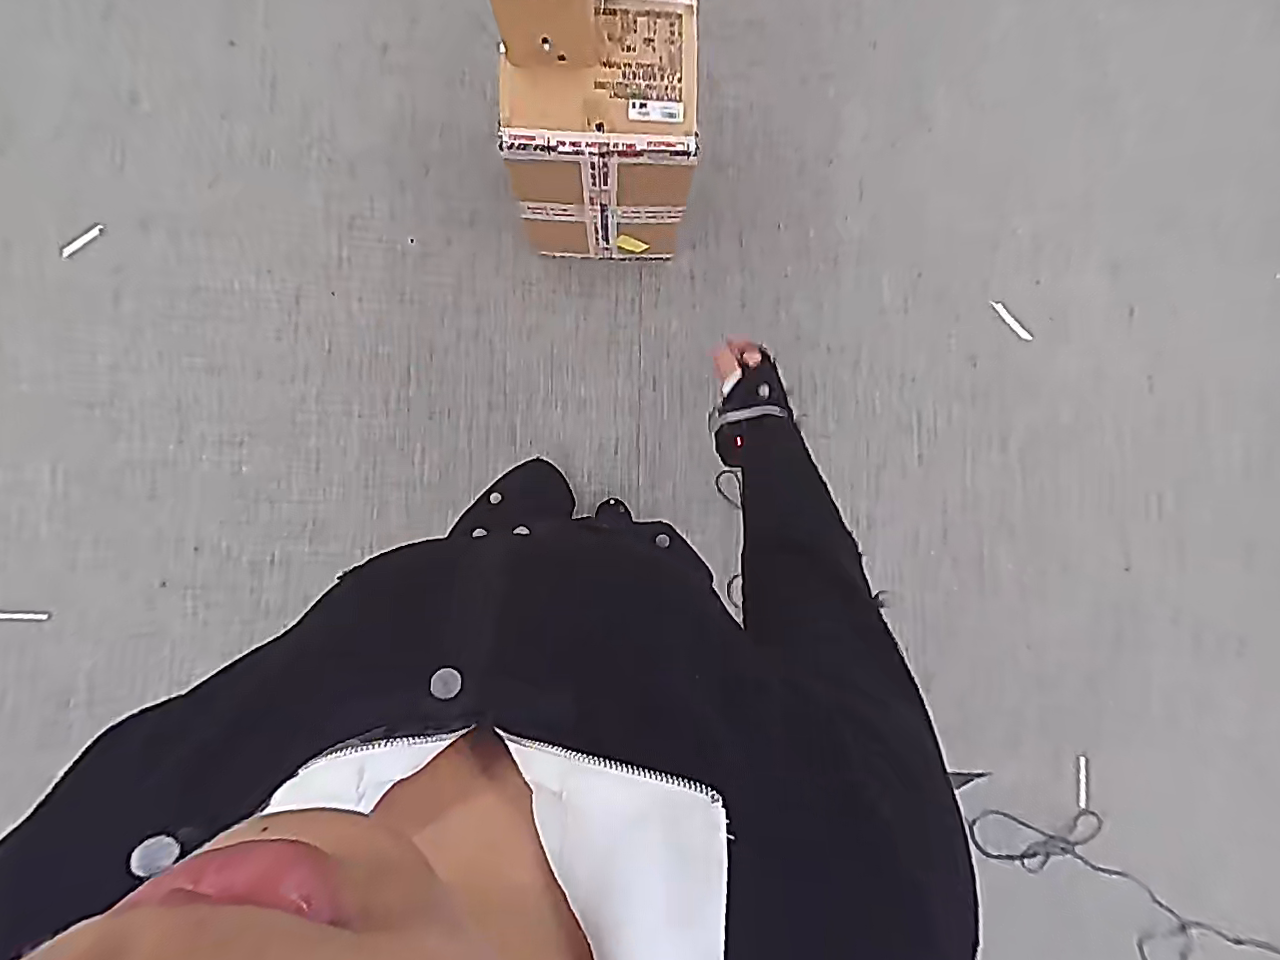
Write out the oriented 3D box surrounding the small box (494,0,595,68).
[{"bbox_3d":[-0.169,-0.885,0.961,0.168,0.176,0.179,1,91,-1],"label":"small box"}]
